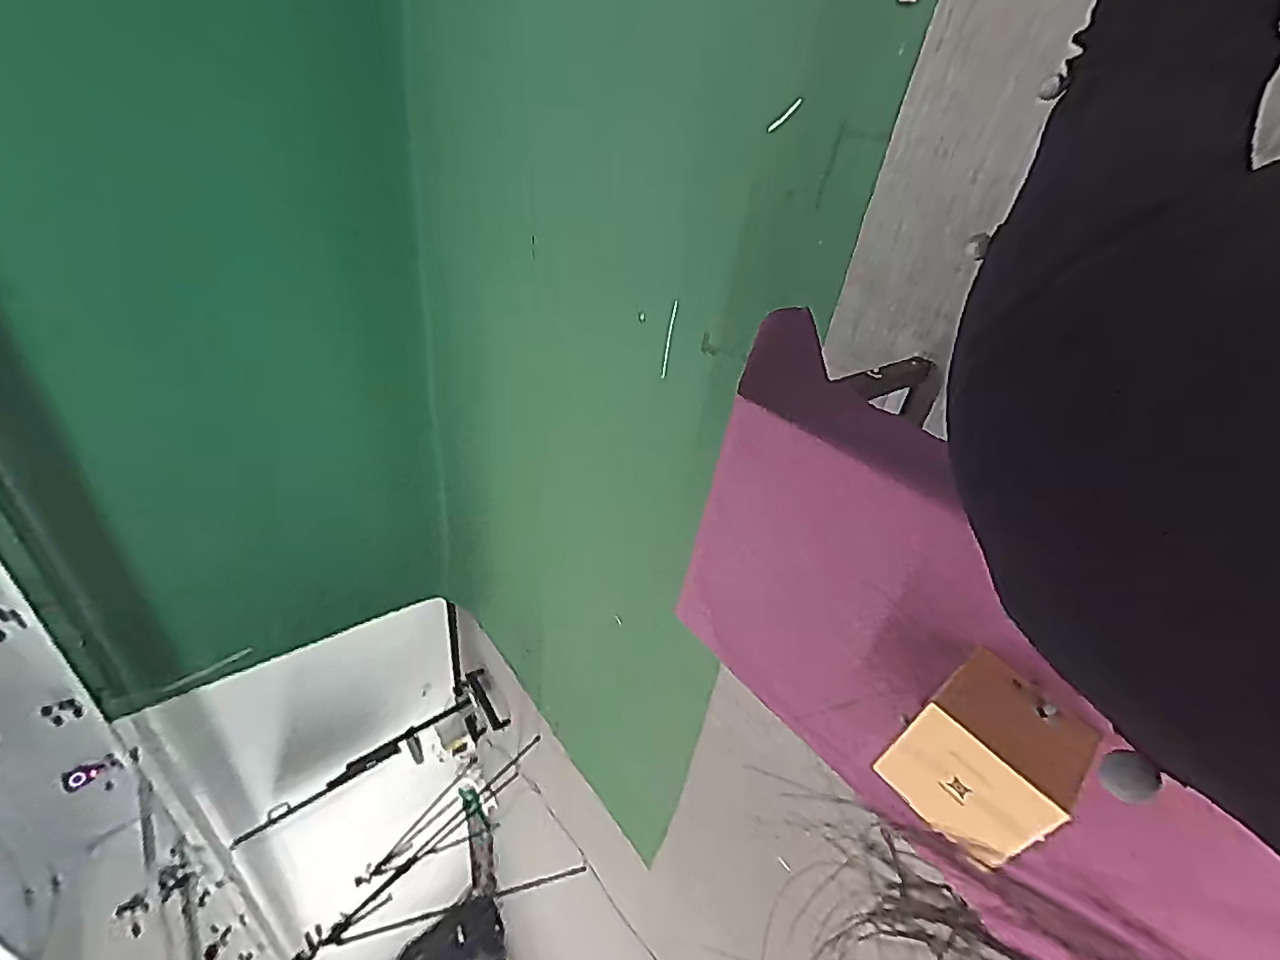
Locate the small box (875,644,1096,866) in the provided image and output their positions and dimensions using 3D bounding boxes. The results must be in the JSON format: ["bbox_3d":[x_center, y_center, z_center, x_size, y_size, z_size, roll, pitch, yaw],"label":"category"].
[{"bbox_3d":[0.463,0.361,0.730,0.168,0.176,0.179,42,134,33],"label":"small box"}]
